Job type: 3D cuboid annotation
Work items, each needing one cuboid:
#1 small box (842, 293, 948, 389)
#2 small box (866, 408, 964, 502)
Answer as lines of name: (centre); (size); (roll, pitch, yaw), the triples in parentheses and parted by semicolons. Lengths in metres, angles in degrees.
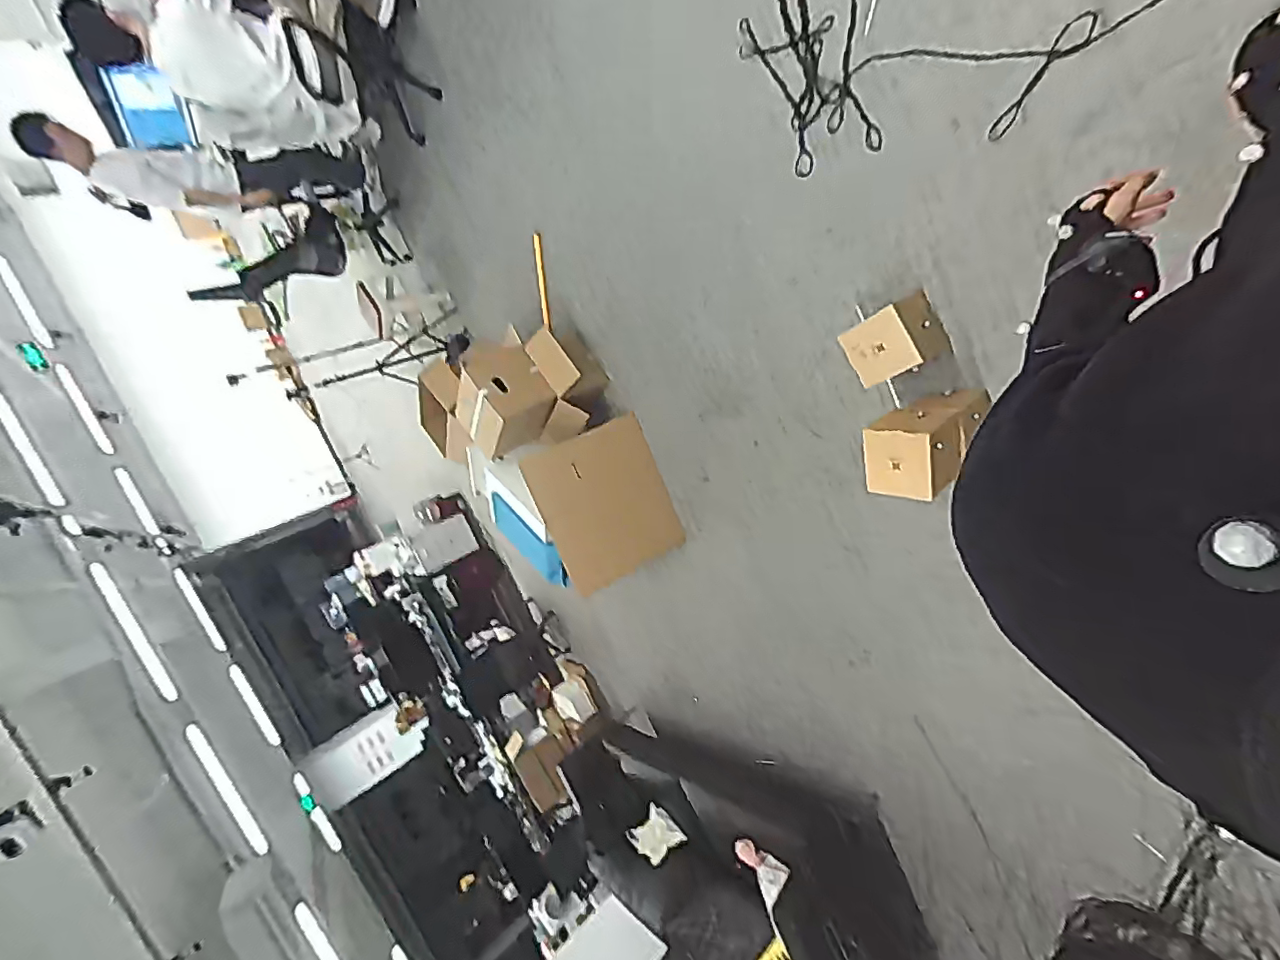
small box: (0.684, -0.372, 1.439); (0.168, 0.176, 0.179); (61, 148, 0)
small box: (0.694, -0.069, 1.358); (0.168, 0.176, 0.179); (12, 122, 51)
